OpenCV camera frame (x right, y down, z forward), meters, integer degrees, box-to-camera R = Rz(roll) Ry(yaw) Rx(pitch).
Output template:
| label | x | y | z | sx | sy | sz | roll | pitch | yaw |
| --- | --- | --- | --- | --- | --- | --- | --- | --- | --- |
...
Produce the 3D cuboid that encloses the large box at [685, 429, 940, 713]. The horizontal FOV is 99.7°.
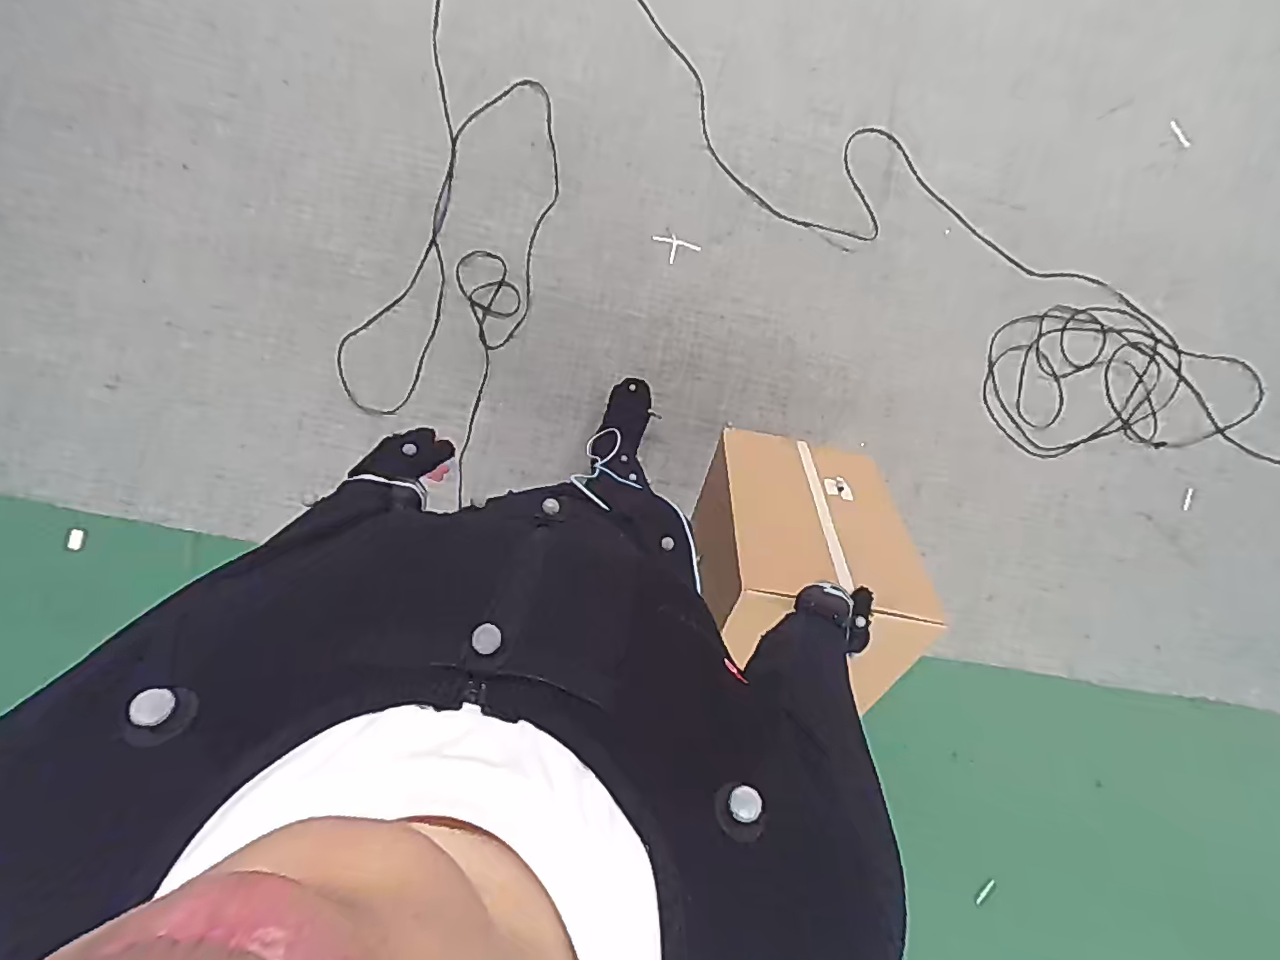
| label | x | y | z | sx | sy | sz | roll | pitch | yaw |
| --- | --- | --- | --- | --- | --- | --- | --- | --- | --- |
| large box | 0.271 | 0.163 | 1.019 | 0.320 | 0.408 | 0.320 | 12 | 129 | -6 |
